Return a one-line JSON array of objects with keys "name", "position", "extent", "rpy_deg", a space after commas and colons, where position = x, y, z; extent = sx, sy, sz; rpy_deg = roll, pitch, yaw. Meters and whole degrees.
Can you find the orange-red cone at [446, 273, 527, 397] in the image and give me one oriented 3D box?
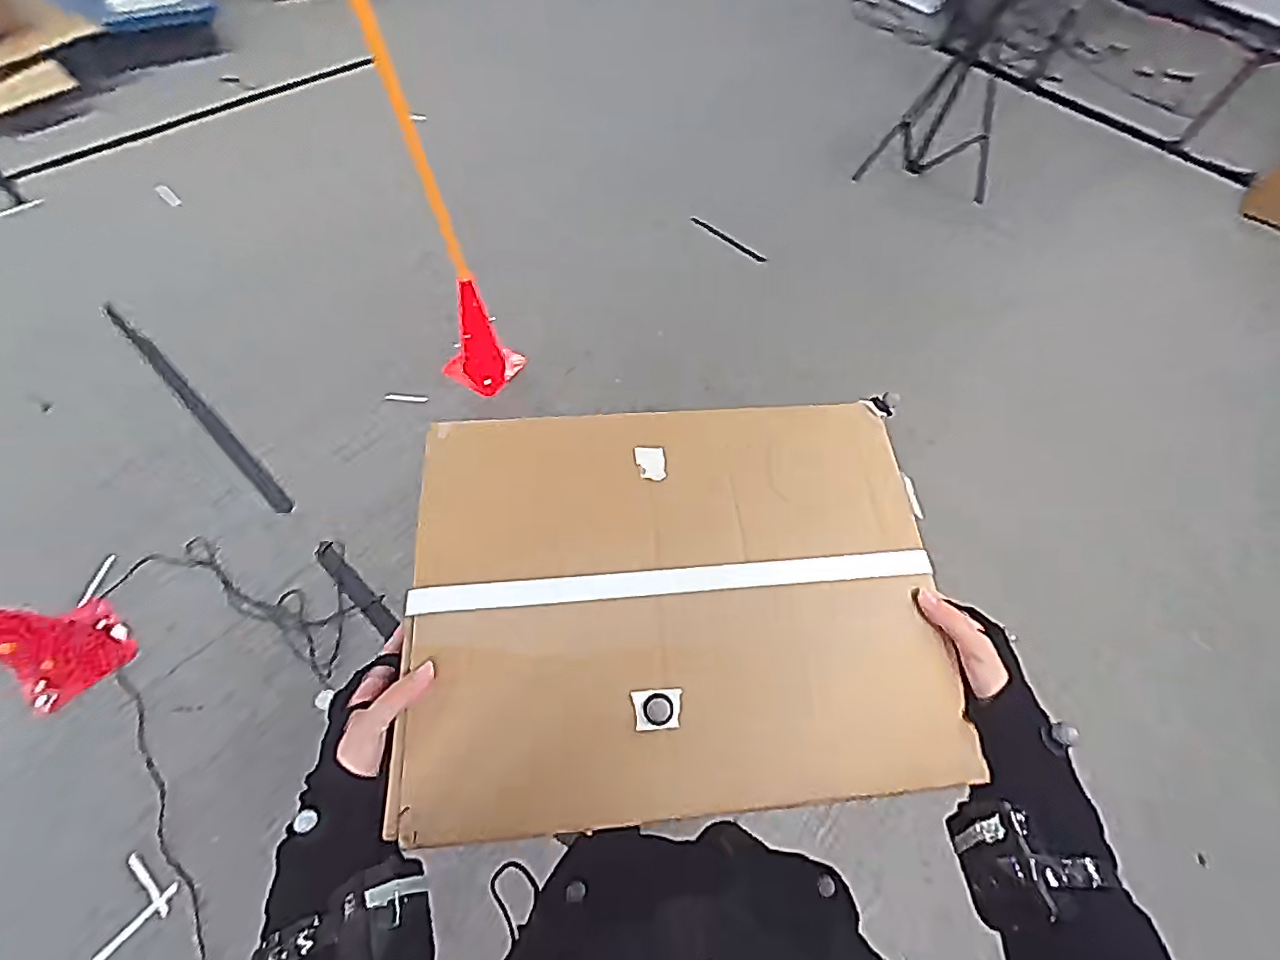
[{"name": "orange-red cone", "position": [-0.474, -0.452, 1.593], "extent": [0.198, 0.360, 0.199], "rpy_deg": [32, 61, 11]}]
